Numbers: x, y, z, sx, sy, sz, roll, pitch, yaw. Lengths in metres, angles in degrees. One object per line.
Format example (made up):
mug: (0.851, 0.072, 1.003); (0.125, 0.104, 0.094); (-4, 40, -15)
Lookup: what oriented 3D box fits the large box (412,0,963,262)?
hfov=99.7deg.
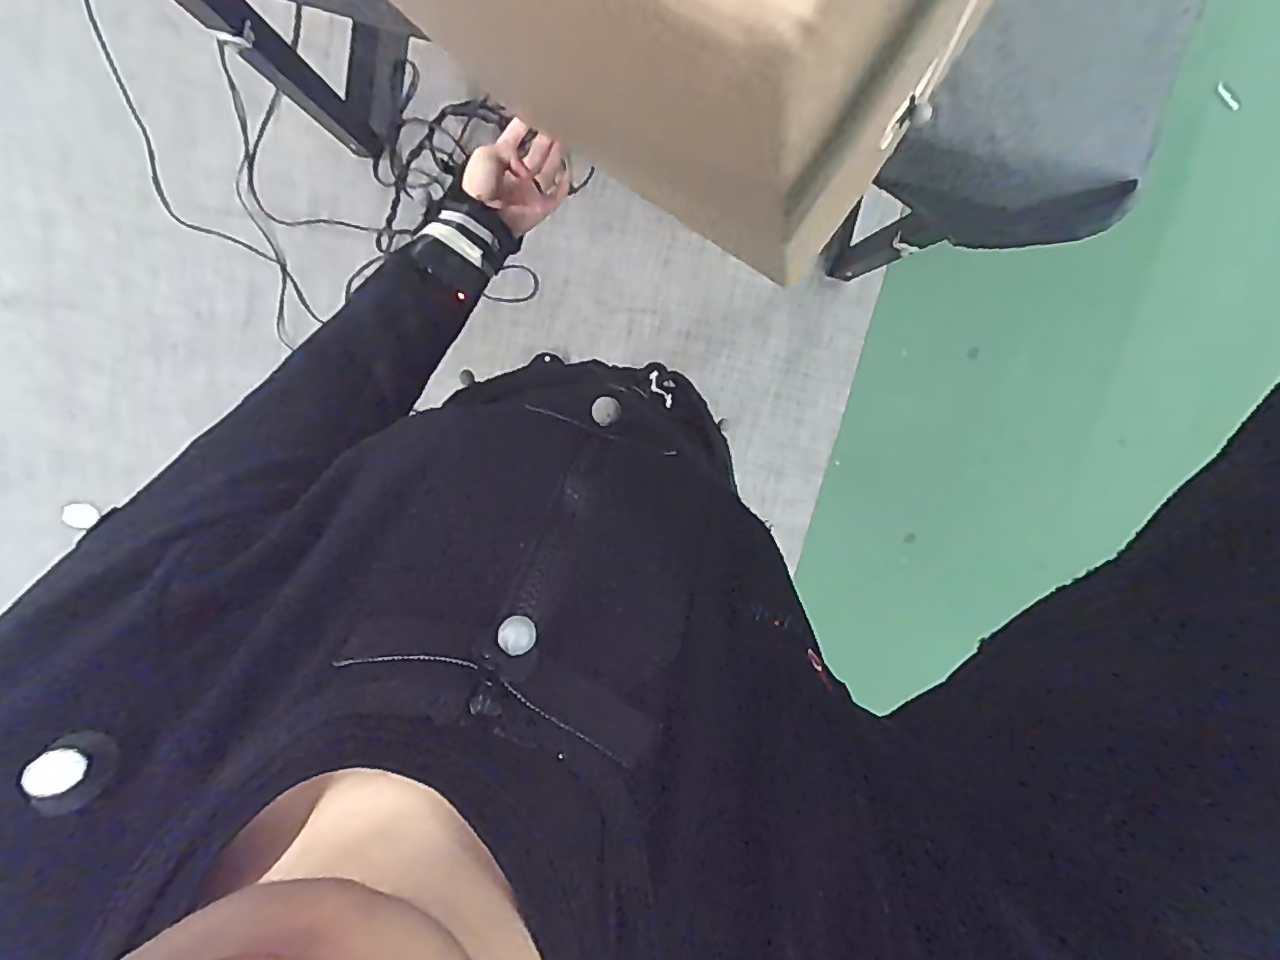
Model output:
large box: (0.039, -0.355, 0.277); (0.320, 0.408, 0.320); (34, 109, 4)
